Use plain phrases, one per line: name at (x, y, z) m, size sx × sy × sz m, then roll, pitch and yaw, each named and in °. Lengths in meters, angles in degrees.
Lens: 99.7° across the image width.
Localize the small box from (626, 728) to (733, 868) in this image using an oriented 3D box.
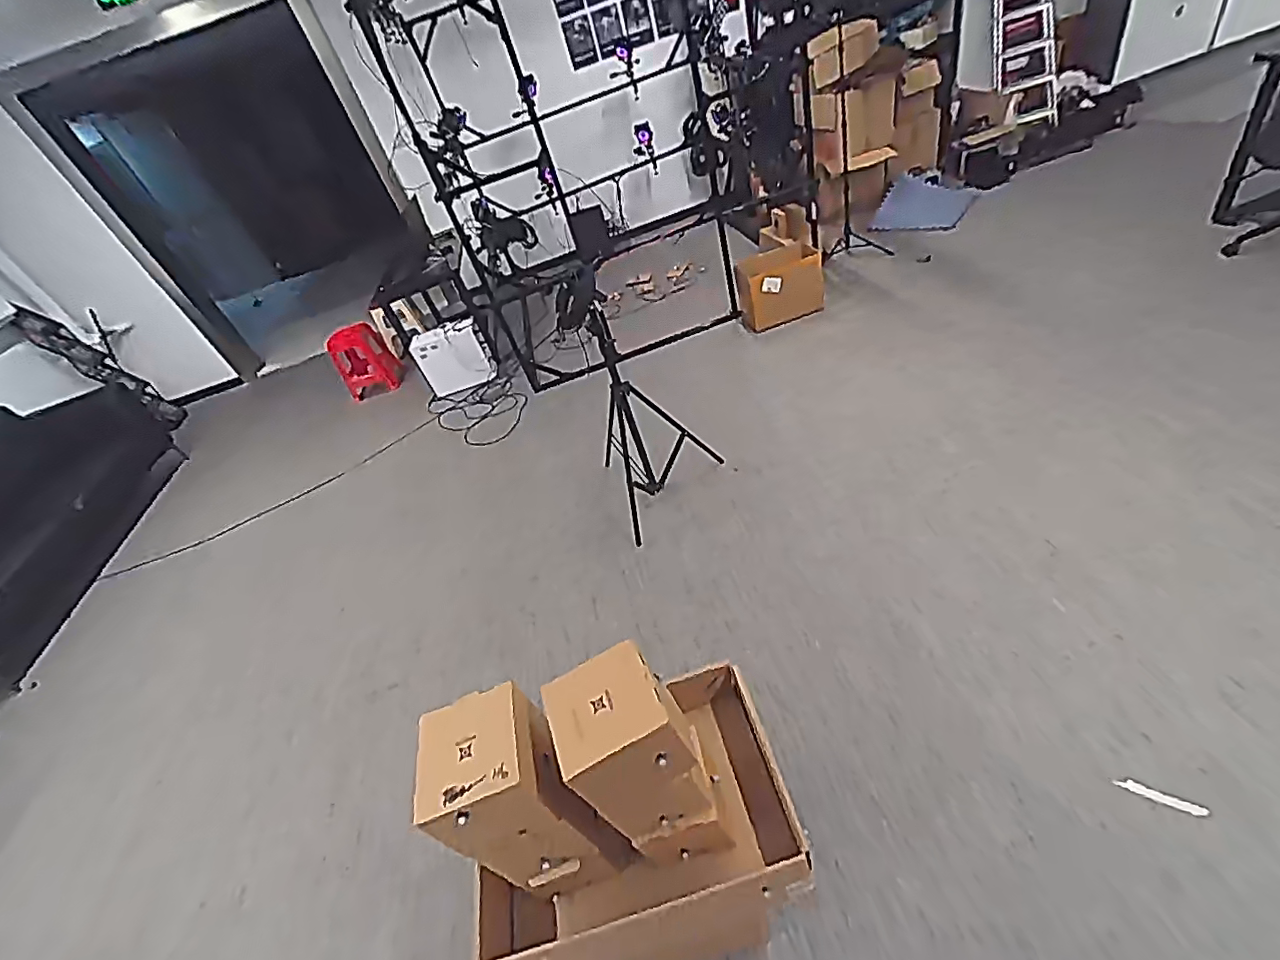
small box at (0.072, 0.637, 1.083) m, size 0.168 × 0.176 × 0.179 m, roll -21°, pitch 40°, yaw 5°

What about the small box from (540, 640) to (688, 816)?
small box at (-0.036, 0.403, 0.879) m, size 0.179 × 0.176 × 0.168 m, roll -28°, pitch 38°, yaw -5°

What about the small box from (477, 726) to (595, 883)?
small box at (-0.195, 0.593, 0.990) m, size 0.168 × 0.176 × 0.179 m, roll -22°, pitch 40°, yaw -1°

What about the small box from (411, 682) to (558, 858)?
small box at (-0.247, 0.475, 0.886) m, size 0.168 × 0.176 × 0.179 m, roll -23°, pitch 38°, yaw 0°
